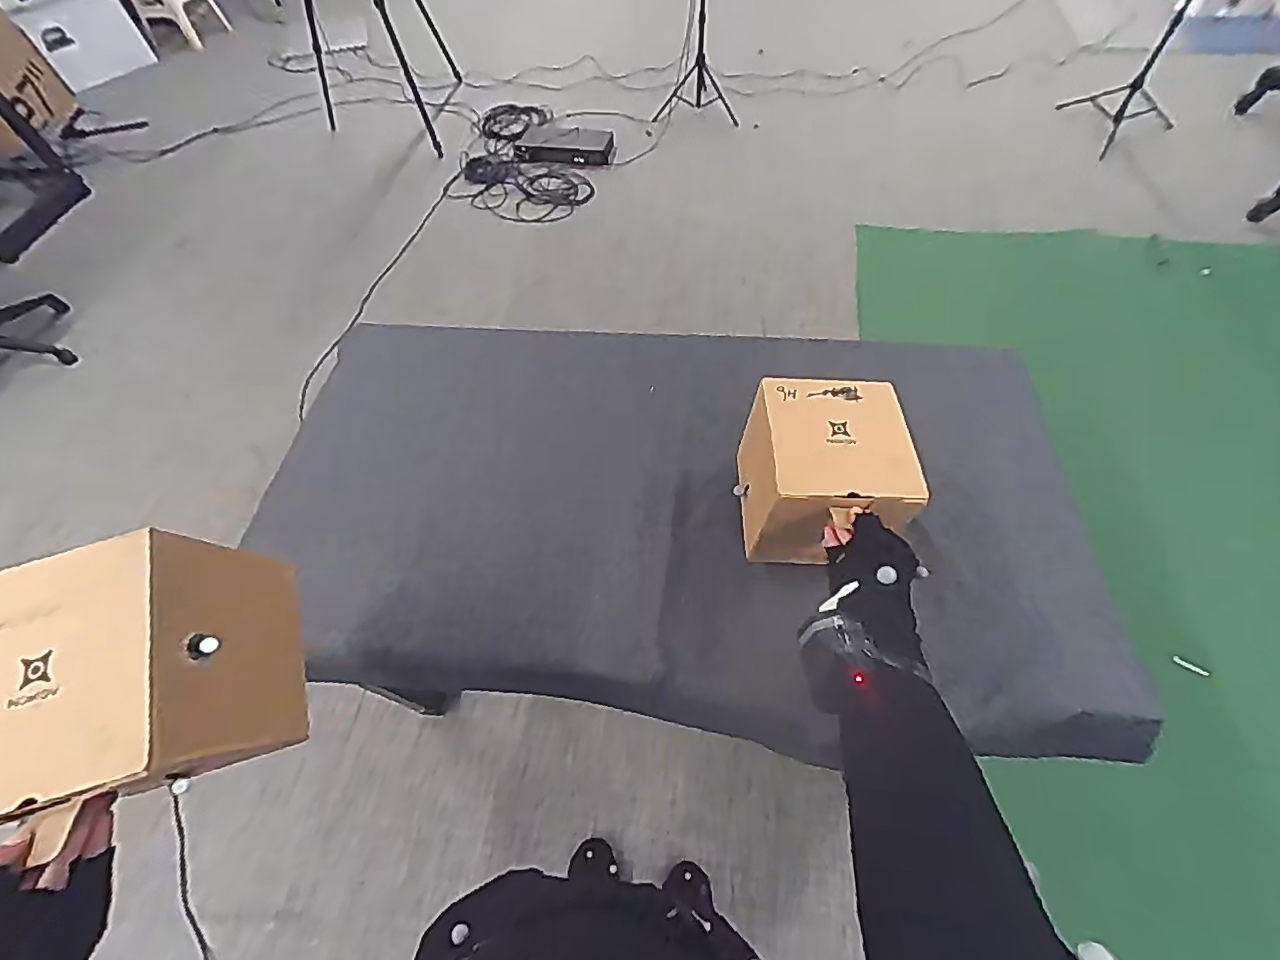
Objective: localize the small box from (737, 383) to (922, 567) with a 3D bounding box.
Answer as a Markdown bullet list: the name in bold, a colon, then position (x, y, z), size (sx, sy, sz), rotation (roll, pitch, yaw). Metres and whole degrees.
- **small box**: position (0.224, 0.000, 0.692), size (0.168, 0.176, 0.179), rotation (3, 57, -1)

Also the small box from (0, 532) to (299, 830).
- **small box**: position (-0.415, 0.164, 0.448), size (0.168, 0.176, 0.179), rotation (-17, 70, -3)
